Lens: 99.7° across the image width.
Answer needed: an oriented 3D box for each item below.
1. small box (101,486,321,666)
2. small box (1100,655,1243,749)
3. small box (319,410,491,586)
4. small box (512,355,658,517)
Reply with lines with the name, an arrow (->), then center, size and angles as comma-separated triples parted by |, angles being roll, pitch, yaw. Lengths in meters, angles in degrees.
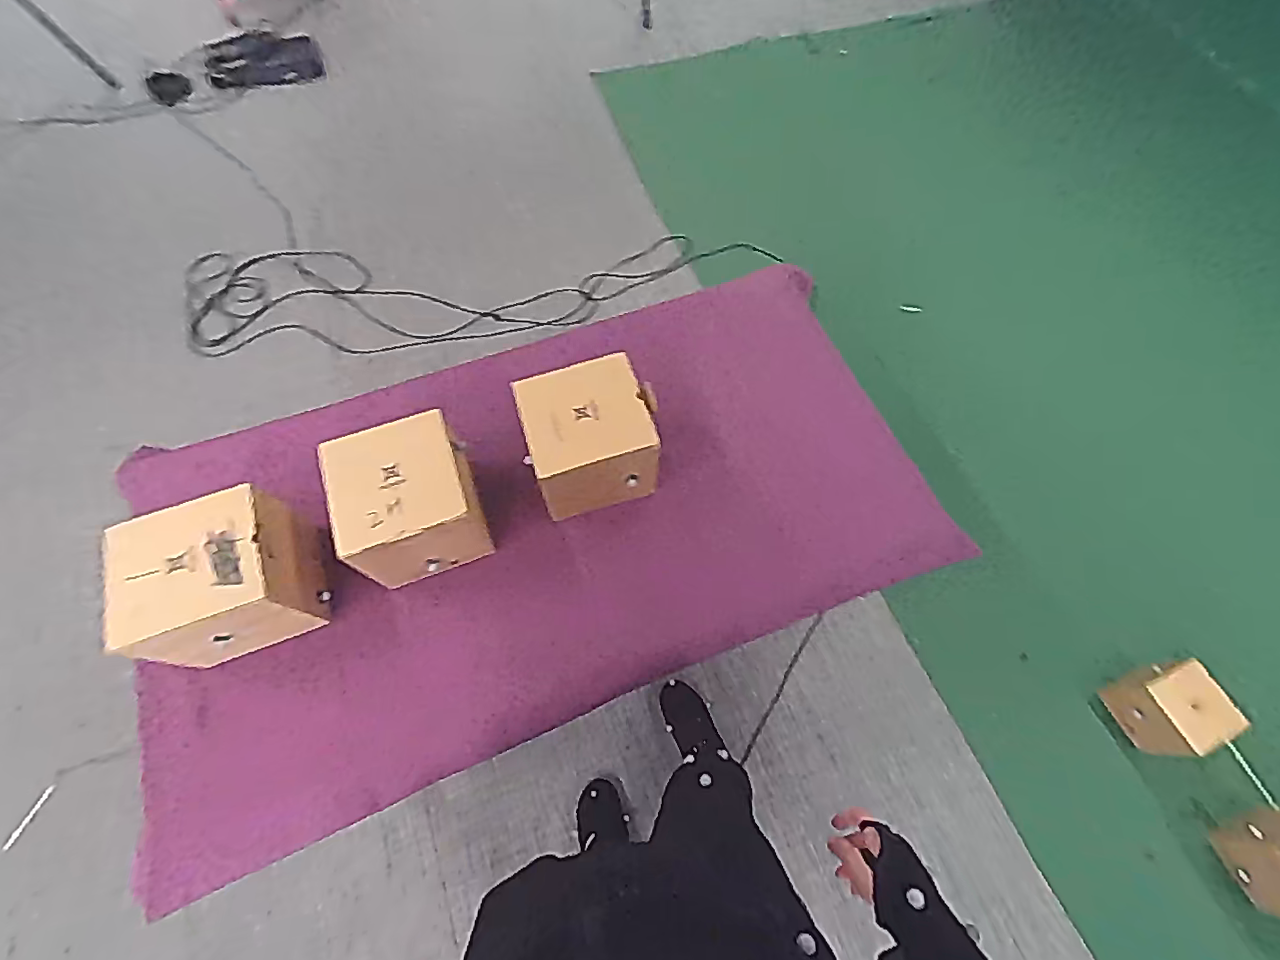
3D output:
small box -> -0.558, 0.135, 0.728 | 0.179, 0.176, 0.168 | -20, 68, -10
small box -> 1.347, 0.574, 1.391 | 0.179, 0.176, 0.168 | -21, 68, -12
small box -> -0.331, 0.031, 0.783 | 0.168, 0.176, 0.179 | -19, 68, -10
small box -> -0.083, -0.061, 0.837 | 0.179, 0.176, 0.168 | -16, 67, -8
